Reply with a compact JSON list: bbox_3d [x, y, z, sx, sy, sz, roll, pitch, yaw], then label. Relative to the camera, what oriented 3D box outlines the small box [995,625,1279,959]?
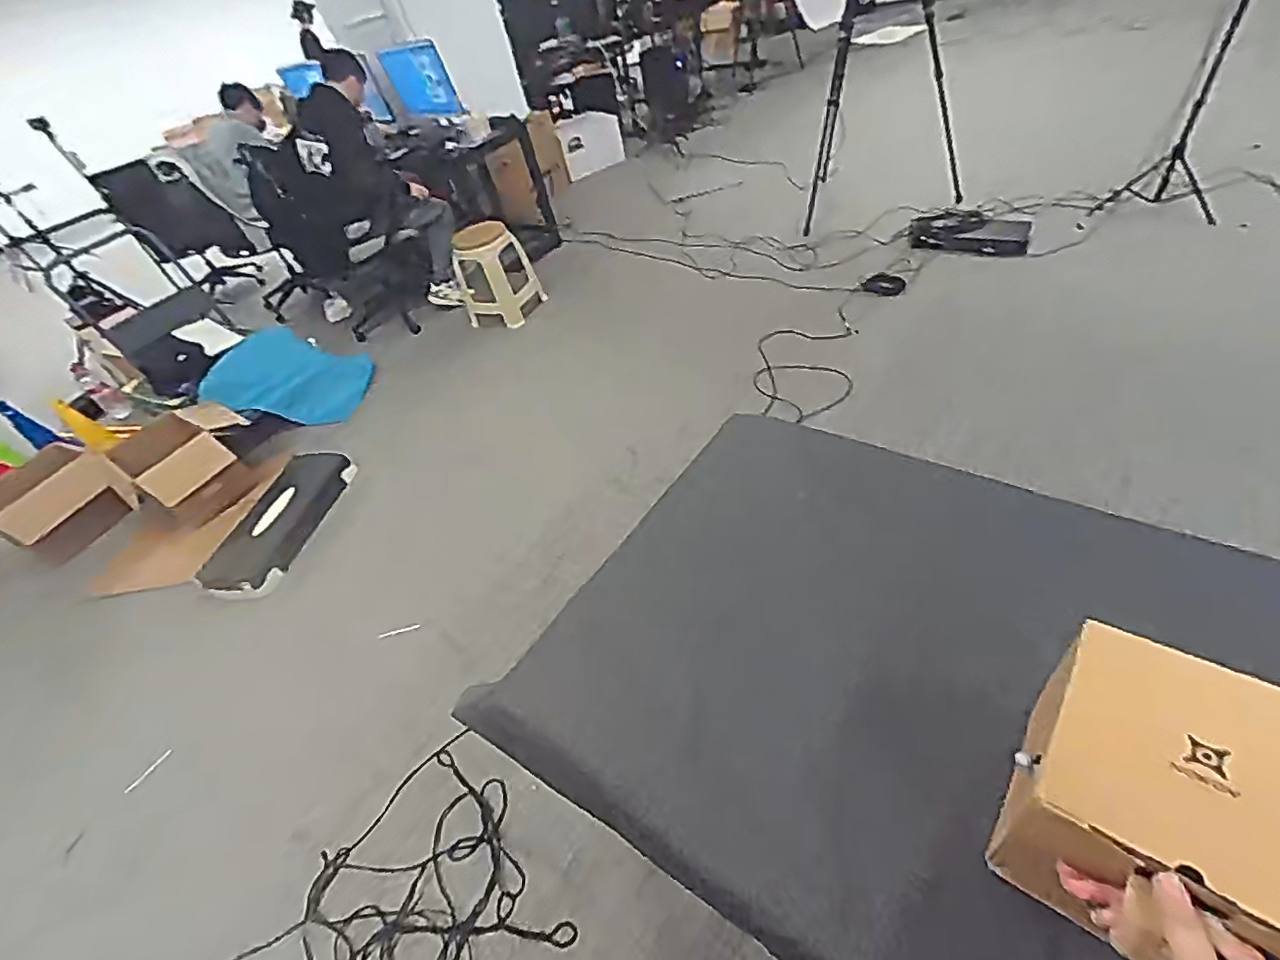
[{"bbox_3d":[0.408,0.258,0.426,0.168,0.176,0.179,22,53,35],"label":"small box"}]
